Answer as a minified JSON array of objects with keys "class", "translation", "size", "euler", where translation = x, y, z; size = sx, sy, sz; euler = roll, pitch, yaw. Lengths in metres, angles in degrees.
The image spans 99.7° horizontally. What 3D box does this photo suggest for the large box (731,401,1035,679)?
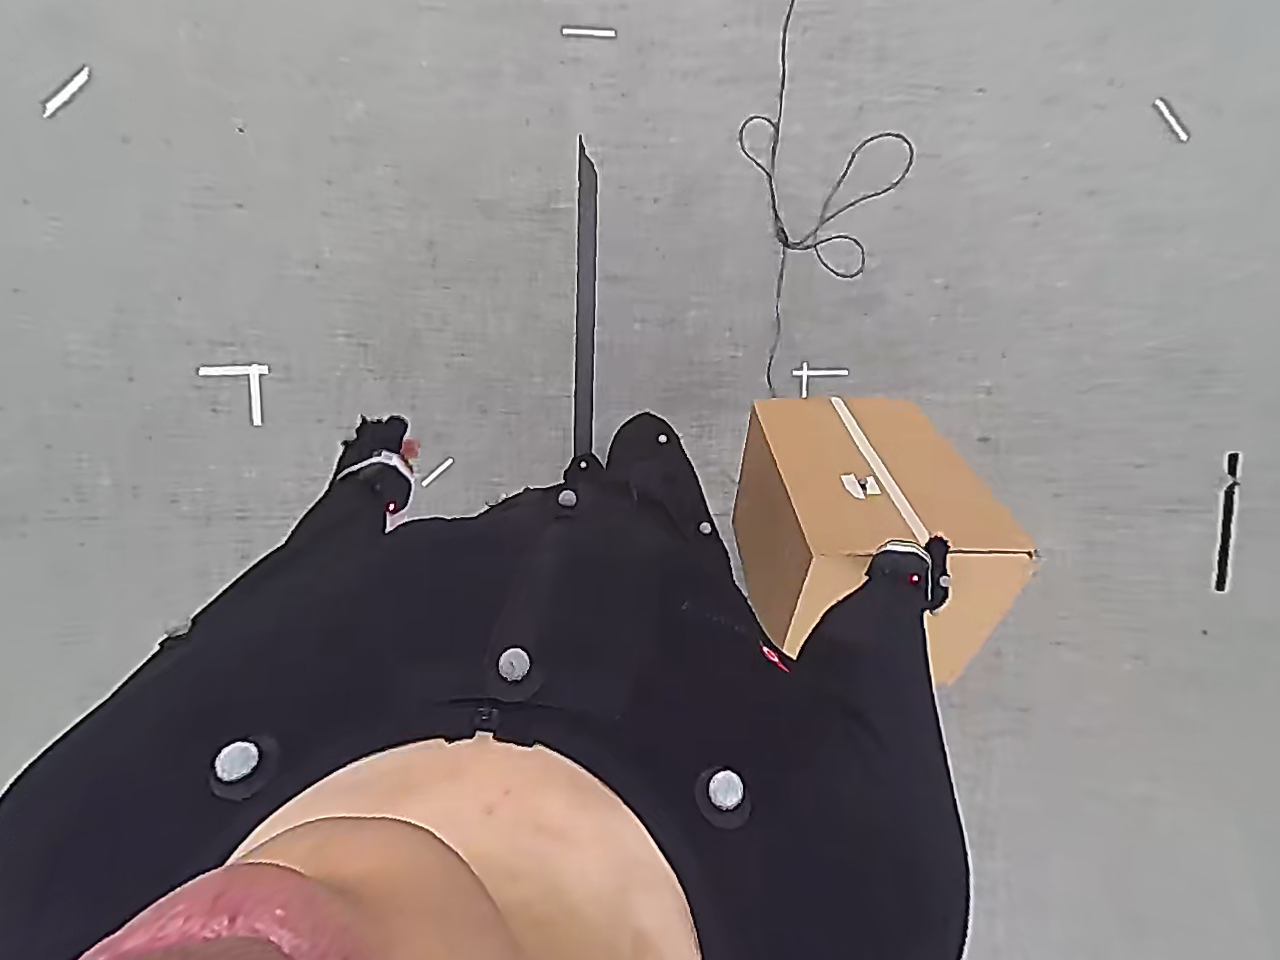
[{"class":"large box","translation":[0.371,0.094,0.973],"size":[0.320,0.408,0.320],"euler":[0,129,-3]}]
